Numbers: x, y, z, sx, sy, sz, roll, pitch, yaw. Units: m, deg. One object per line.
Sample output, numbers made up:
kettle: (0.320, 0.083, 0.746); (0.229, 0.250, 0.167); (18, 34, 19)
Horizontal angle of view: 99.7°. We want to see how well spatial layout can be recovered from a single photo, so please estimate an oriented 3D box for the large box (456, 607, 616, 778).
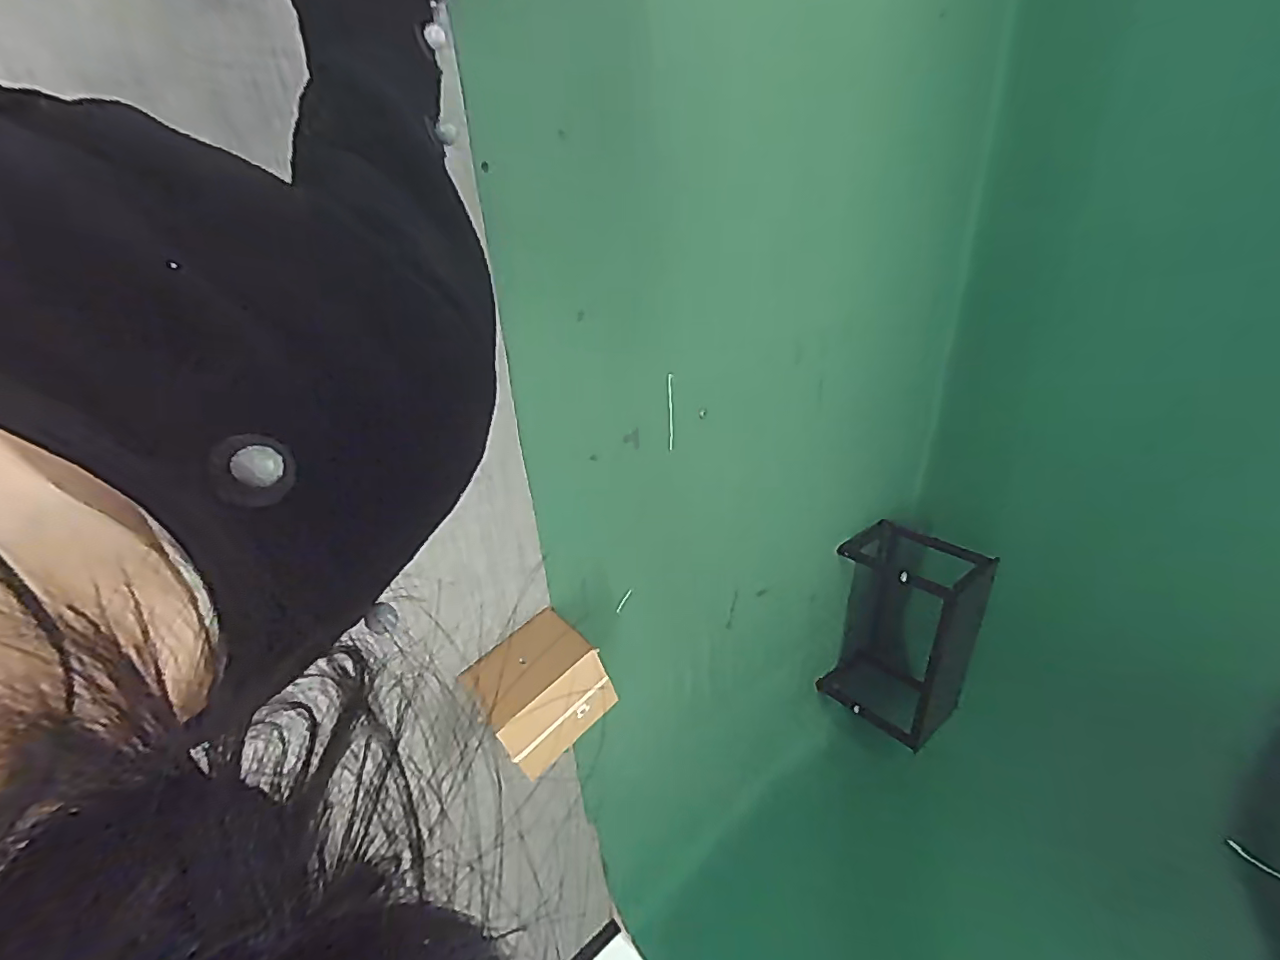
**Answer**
large box: (-0.364, 0.739, 1.925); (0.408, 0.320, 0.320); (-37, 129, -27)
